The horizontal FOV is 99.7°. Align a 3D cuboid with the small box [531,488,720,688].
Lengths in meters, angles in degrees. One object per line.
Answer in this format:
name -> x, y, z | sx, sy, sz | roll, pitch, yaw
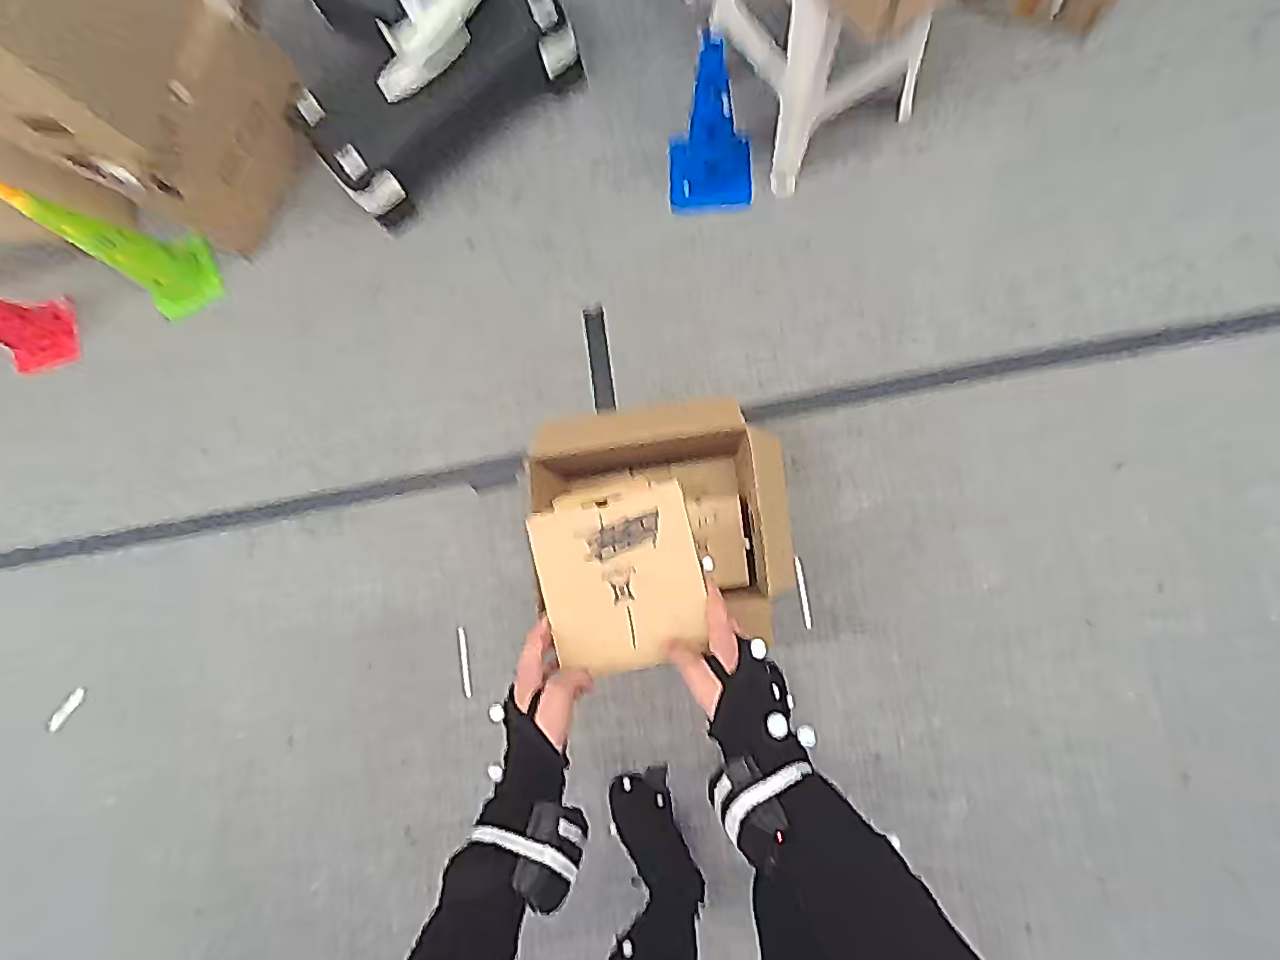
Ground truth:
small box -> -0.012, 0.116, 0.626 | 0.168, 0.176, 0.179 | -13, 85, 3
